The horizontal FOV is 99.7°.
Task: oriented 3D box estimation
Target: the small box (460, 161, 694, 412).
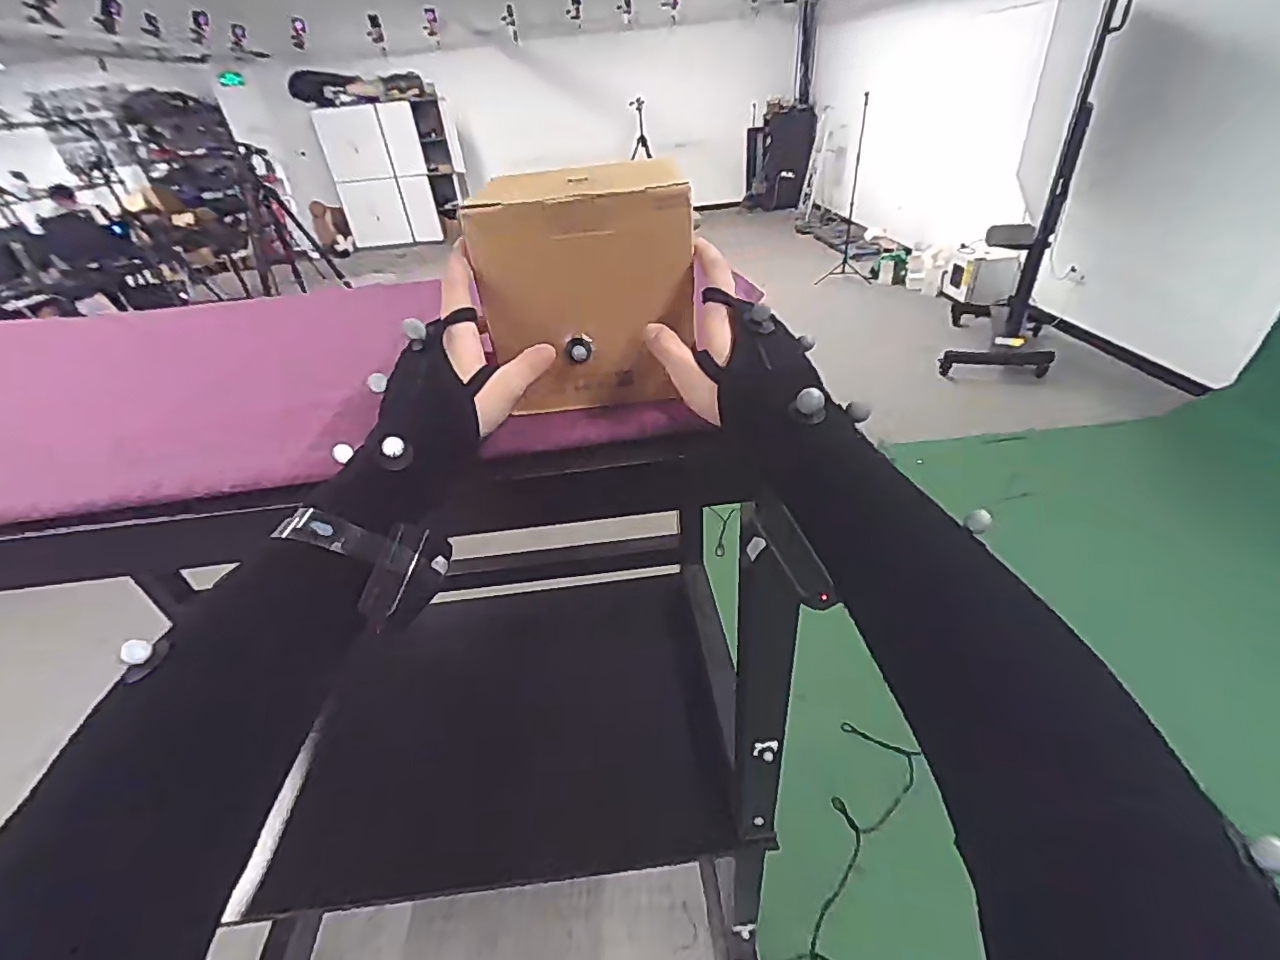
[{"bbox_3d":[-0.044,-0.178,0.491,0.168,0.176,0.179,-7,36,0],"label":"small box"}]
